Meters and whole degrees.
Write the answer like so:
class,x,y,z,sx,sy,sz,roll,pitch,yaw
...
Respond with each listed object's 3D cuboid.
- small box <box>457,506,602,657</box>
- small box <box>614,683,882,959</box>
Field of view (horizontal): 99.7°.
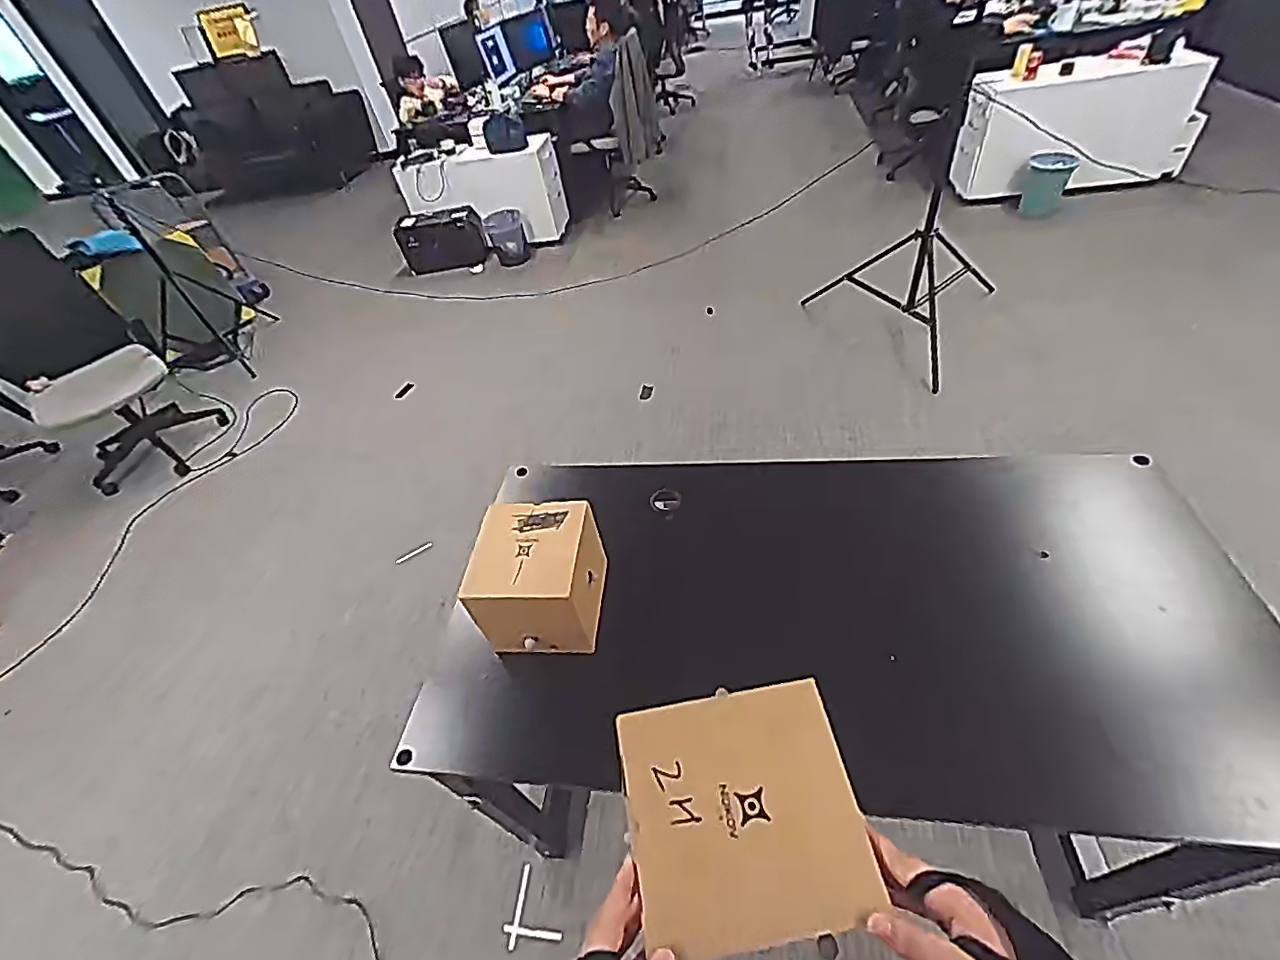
class,x,y,z,sx,sy,sz,roll,pitch,yaw
small box,-0.160,0.160,0.860,0.168,0.176,0.179,-2,47,9
small box,0.079,0.300,0.485,0.179,0.176,0.168,-10,54,-2
